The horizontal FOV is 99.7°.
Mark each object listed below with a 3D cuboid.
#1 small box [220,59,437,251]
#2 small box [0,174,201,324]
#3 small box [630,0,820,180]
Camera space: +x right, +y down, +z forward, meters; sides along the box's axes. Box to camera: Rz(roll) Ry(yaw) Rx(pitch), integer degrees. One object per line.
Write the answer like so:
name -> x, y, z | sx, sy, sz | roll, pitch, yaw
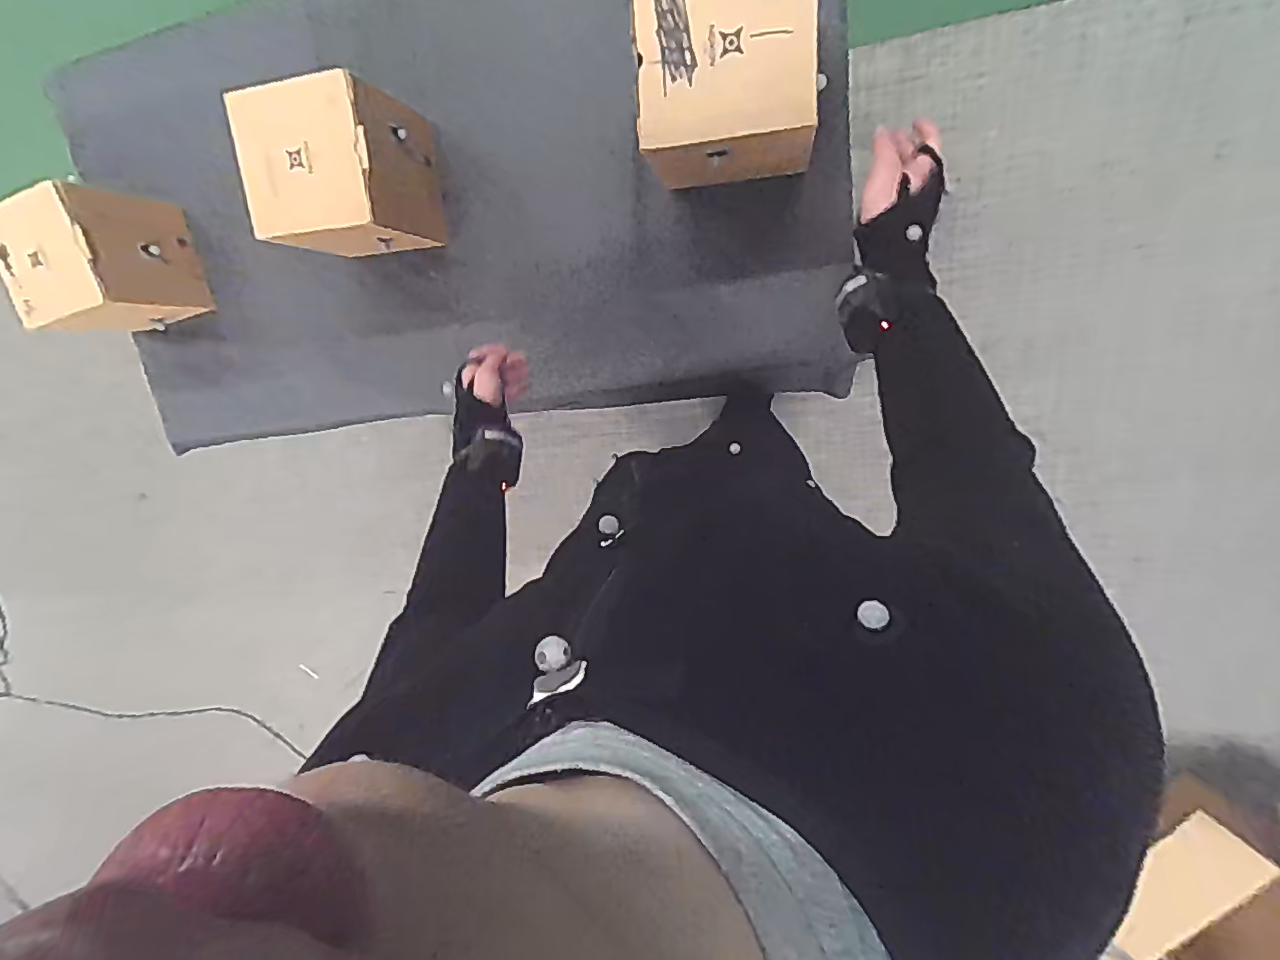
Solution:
small box -> -0.389, -0.408, 0.711 | 0.179, 0.176, 0.168 | -1, 104, 15
small box -> -0.830, -0.342, 0.833 | 0.179, 0.176, 0.168 | -9, 103, 15
small box -> 0.094, -0.440, 0.581 | 0.179, 0.176, 0.168 | 0, 105, 12
